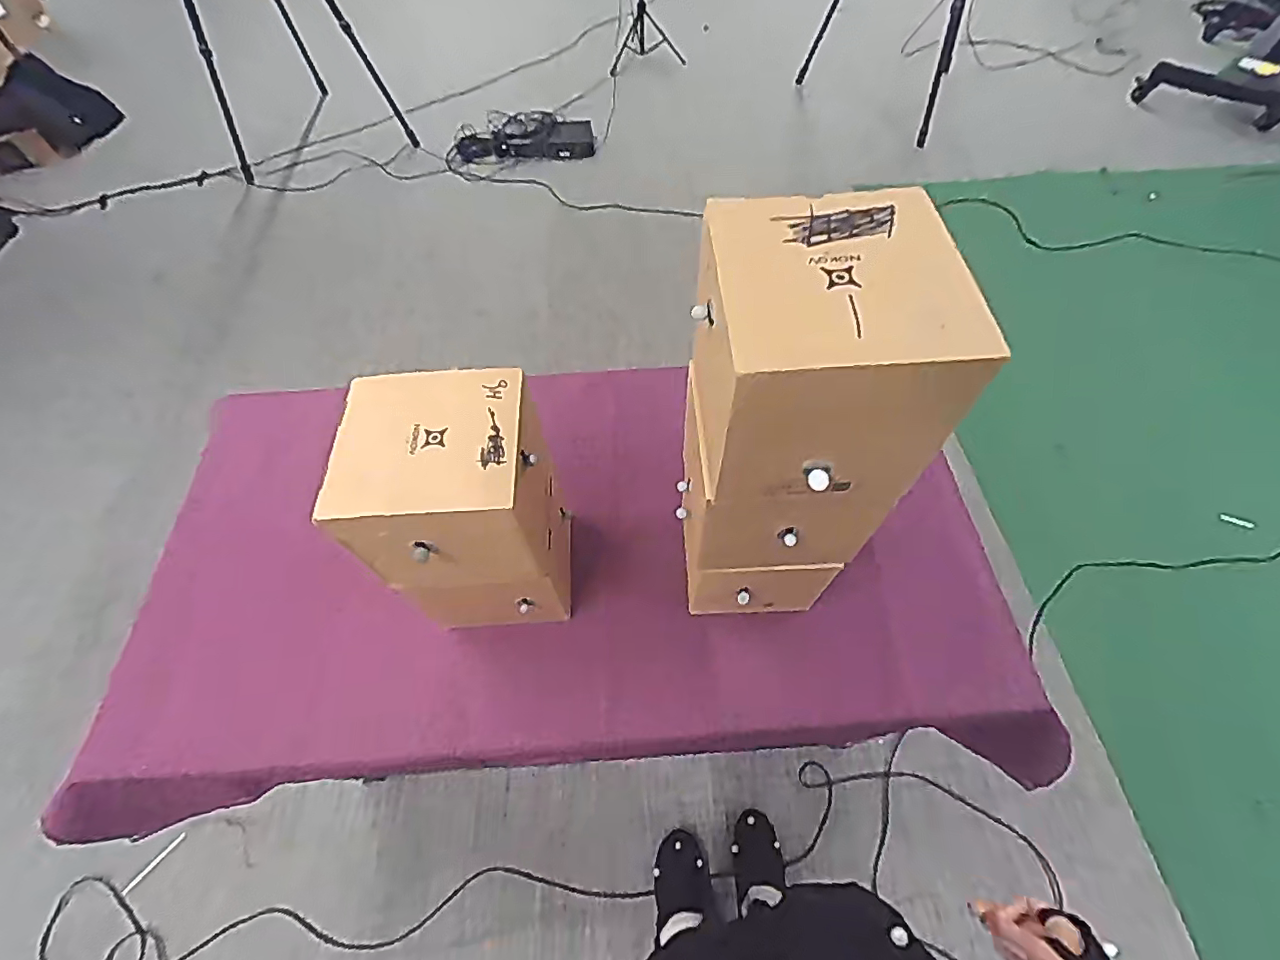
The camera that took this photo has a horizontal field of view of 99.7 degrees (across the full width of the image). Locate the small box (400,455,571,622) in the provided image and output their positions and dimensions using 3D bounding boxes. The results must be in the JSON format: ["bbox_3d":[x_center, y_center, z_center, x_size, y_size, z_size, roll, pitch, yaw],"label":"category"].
[{"bbox_3d":[-0.187,0.082,0.719,0.179,0.176,0.168,-4,58,0],"label":"small box"}]

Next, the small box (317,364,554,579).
[{"bbox_3d":[-0.195,-0.001,0.577,0.179,0.176,0.168,-3,58,0],"label":"small box"}]

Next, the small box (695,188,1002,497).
[{"bbox_3d":[0.137,-0.104,0.438,0.168,0.176,0.179,-4,59,1],"label":"small box"}]

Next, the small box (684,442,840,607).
[{"bbox_3d":[0.147,0.064,0.721,0.168,0.176,0.179,-2,58,0],"label":"small box"}]
